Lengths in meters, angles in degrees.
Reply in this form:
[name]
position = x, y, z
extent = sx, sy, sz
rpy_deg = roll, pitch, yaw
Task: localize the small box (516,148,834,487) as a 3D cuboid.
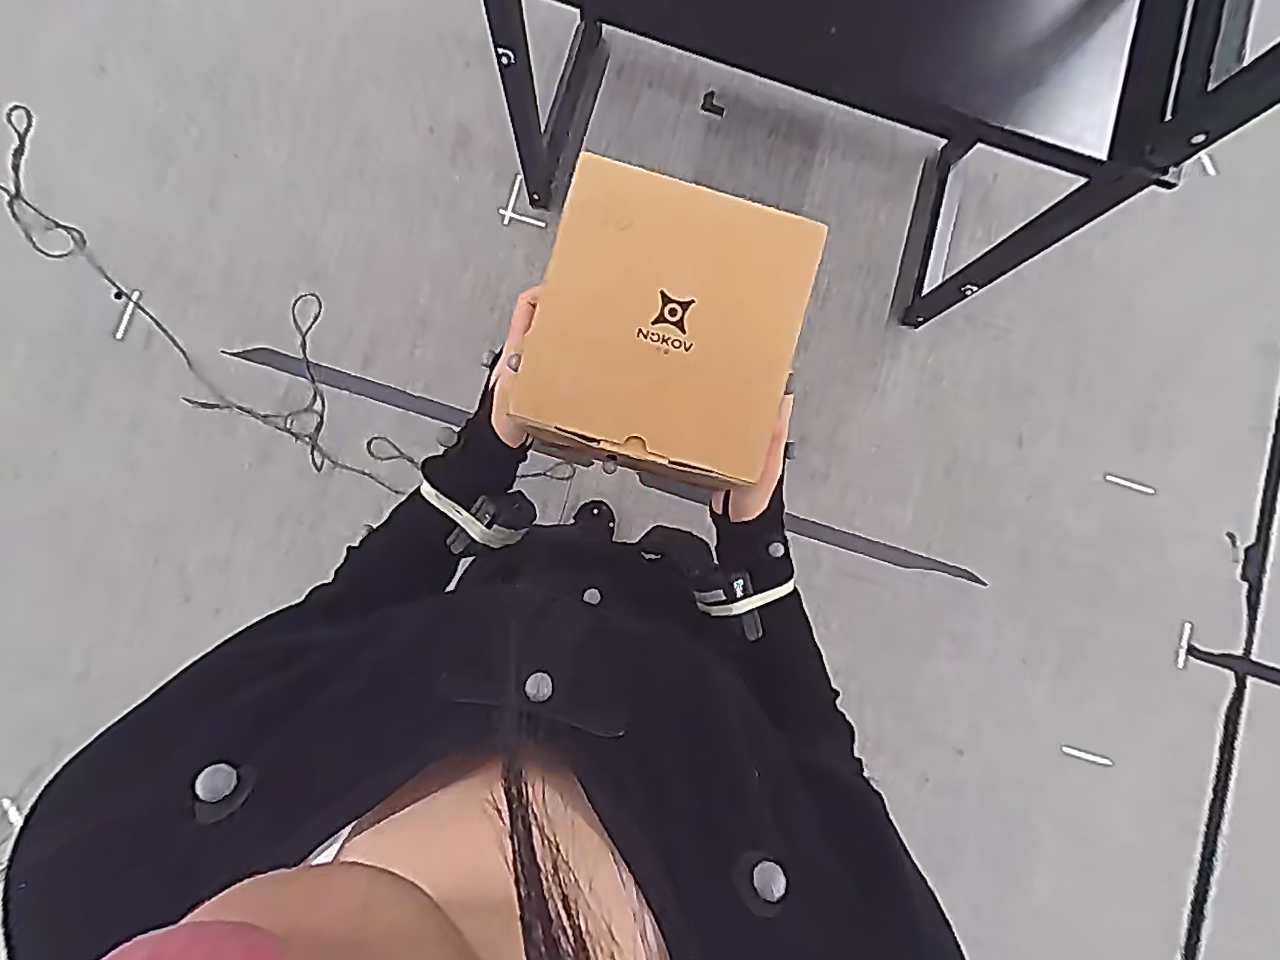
[small box]
position = 0.018, -0.099, 0.414
extent = 0.168, 0.176, 0.179
rpy_deg = 16, 88, -3
